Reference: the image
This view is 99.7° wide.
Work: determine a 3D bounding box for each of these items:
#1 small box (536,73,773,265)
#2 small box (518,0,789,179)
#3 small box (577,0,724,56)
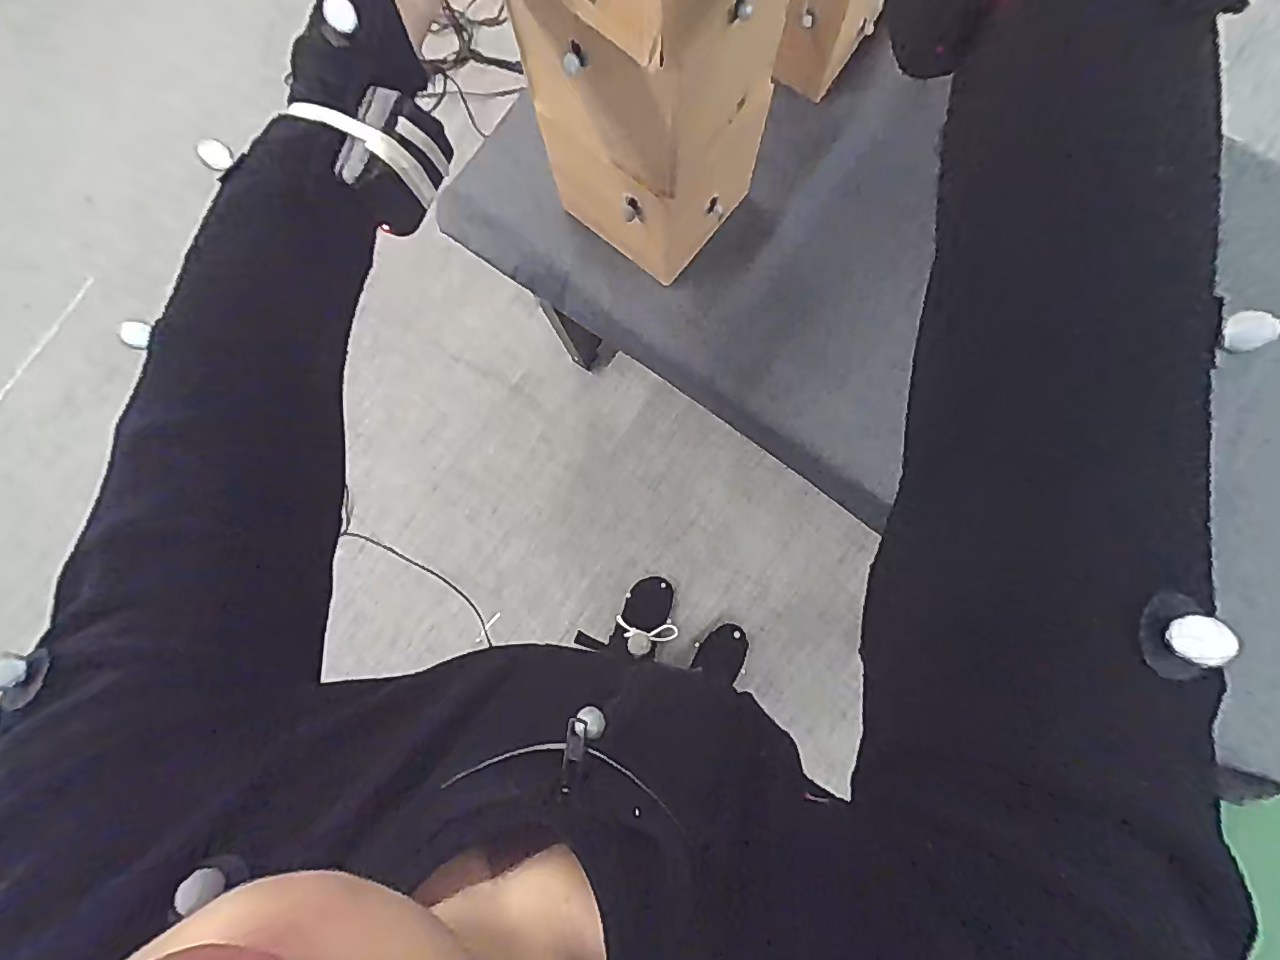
[{"bbox_3d":[0.017,-0.374,0.607,0.179,0.176,0.168,39,86,5],"label":"small box"},{"bbox_3d":[0.010,-0.395,0.445,0.179,0.176,0.168,36,87,6],"label":"small box"},{"bbox_3d":[0.009,-0.391,0.280,0.168,0.176,0.179,40,87,5],"label":"small box"}]
